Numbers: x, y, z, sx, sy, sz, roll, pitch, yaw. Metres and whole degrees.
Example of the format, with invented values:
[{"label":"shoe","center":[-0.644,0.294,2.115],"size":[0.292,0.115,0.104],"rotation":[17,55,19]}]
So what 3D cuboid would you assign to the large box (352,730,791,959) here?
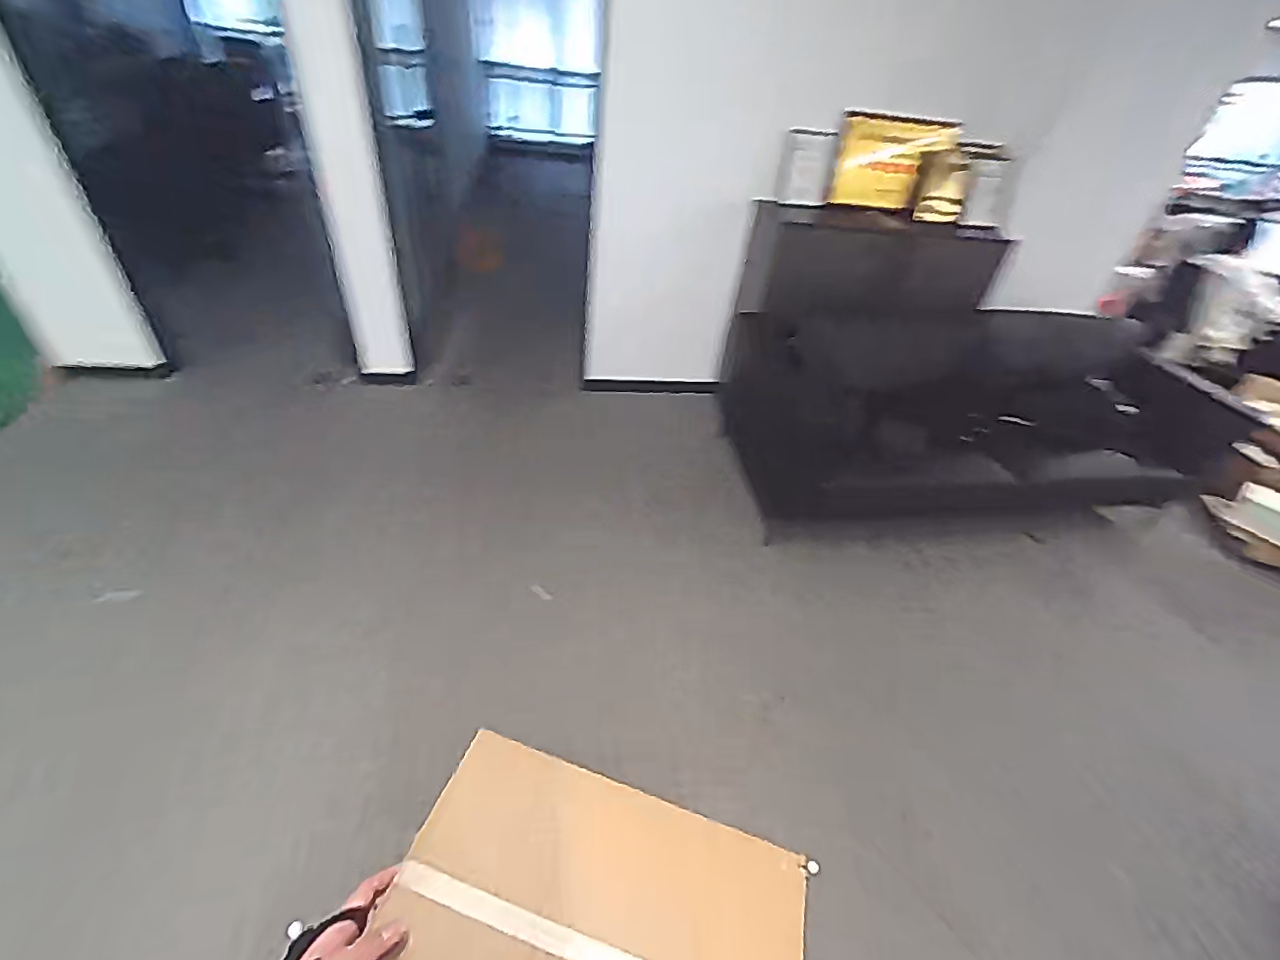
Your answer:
[{"label":"large box","center":[-0.080,0.562,0.611],"size":[0.408,0.320,0.320],"rotation":[18,37,6]}]
